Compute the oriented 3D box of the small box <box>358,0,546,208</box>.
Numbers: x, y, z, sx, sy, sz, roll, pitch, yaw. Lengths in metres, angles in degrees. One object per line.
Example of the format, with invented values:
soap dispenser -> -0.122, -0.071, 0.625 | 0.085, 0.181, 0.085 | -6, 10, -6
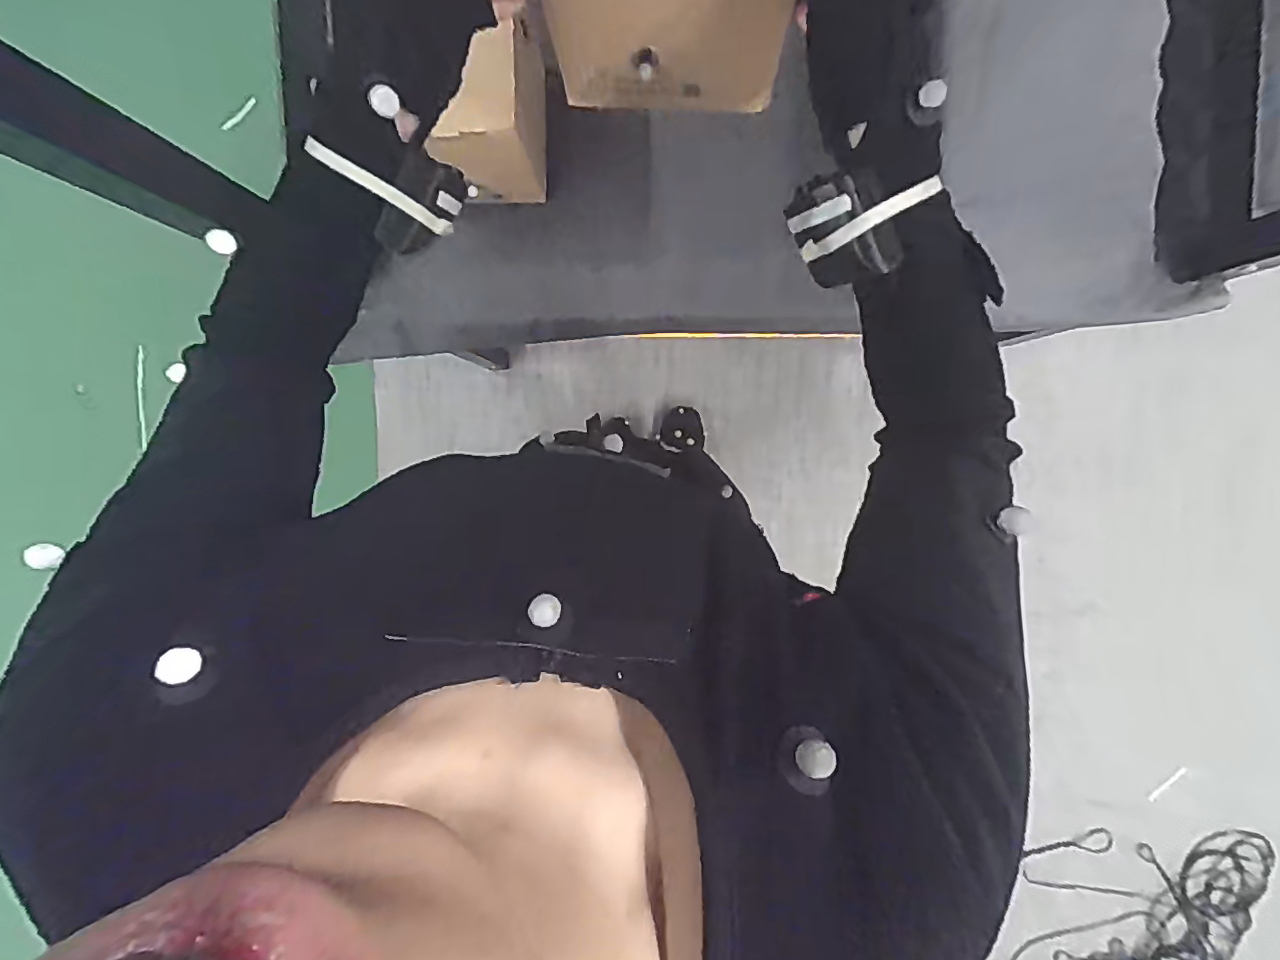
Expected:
small box -> -0.209, -0.448, 0.639 | 0.168, 0.176, 0.179 | 0, 94, 1
